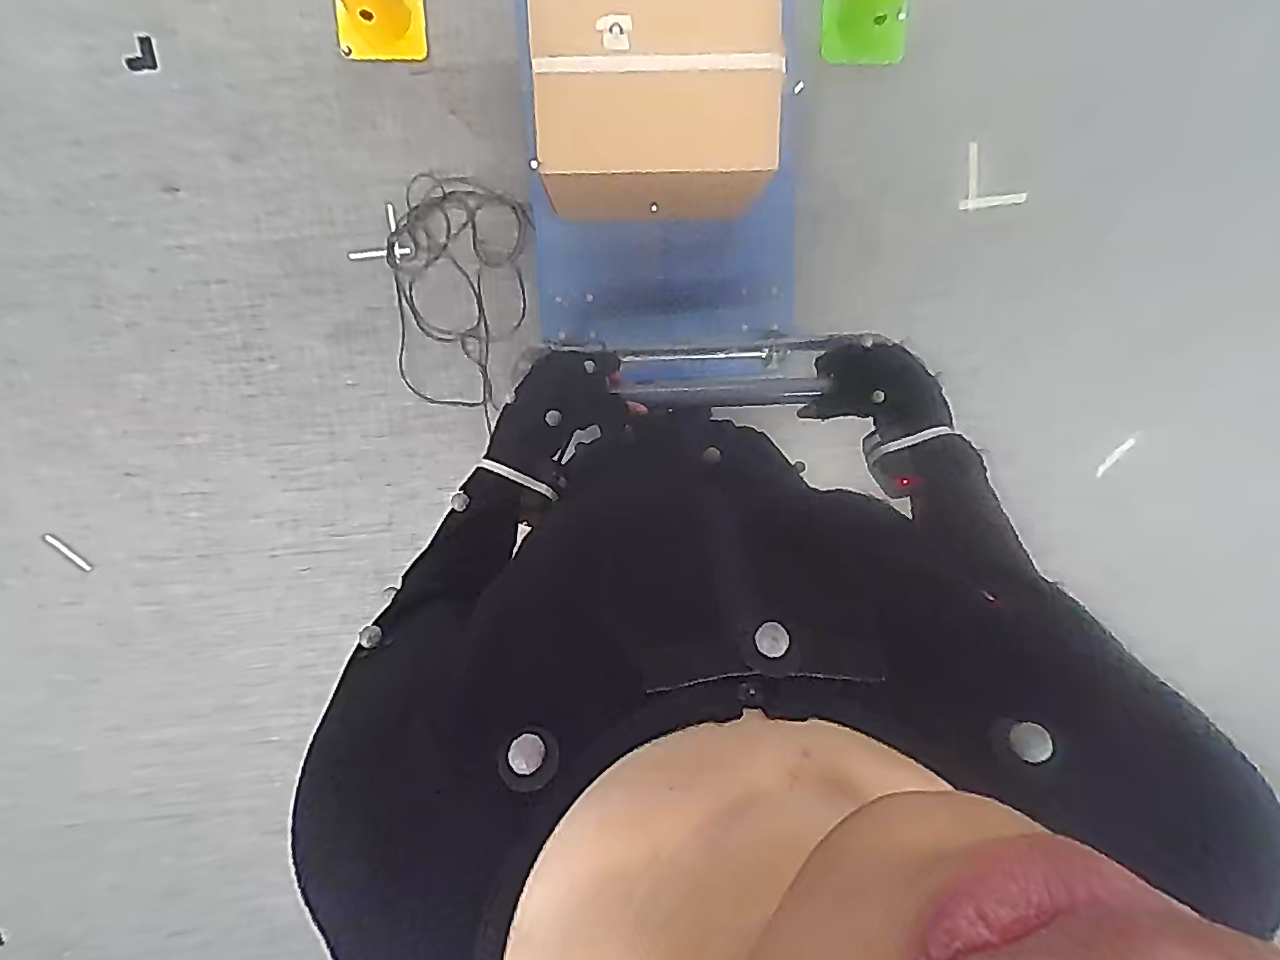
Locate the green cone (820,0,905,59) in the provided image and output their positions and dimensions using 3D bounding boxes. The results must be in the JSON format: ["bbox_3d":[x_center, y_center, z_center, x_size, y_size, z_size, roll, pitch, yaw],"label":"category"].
[{"bbox_3d":[0.538,-1.078,1.112,0.202,0.368,0.200,-1,101,-3],"label":"green cone"}]

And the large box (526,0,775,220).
[{"bbox_3d":[0.020,-0.698,1.022,0.408,0.320,0.320,-2,101,-1],"label":"large box"}]
